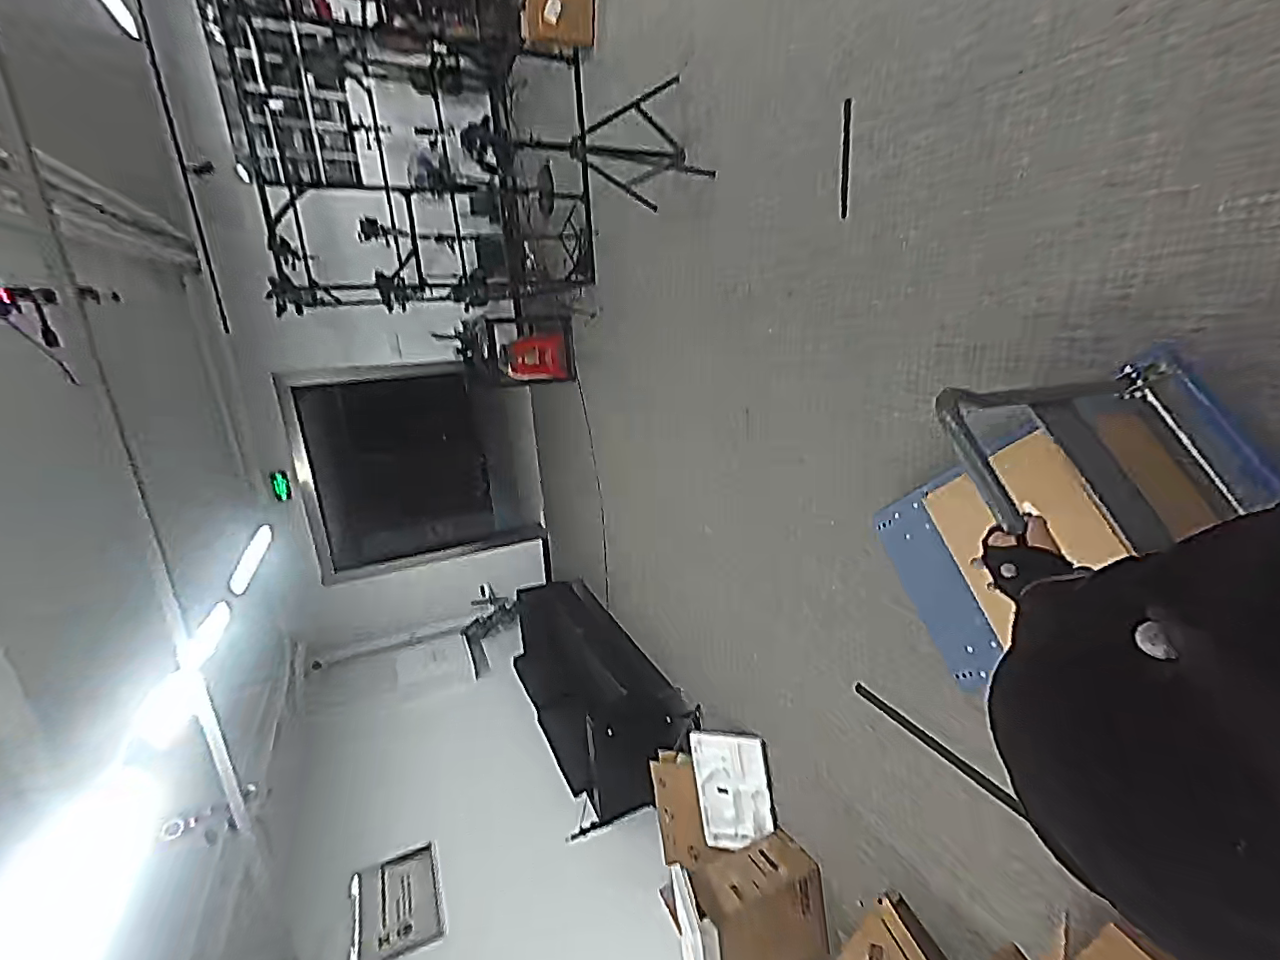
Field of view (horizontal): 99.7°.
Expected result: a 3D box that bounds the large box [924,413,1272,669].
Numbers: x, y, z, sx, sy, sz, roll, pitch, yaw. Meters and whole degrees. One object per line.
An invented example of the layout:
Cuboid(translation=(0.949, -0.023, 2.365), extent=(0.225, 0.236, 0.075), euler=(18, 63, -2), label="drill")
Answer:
Cuboid(translation=(0.893, 0.124, 1.103), extent=(0.320, 0.320, 0.408), euler=(123, 133, -58), label="large box")
